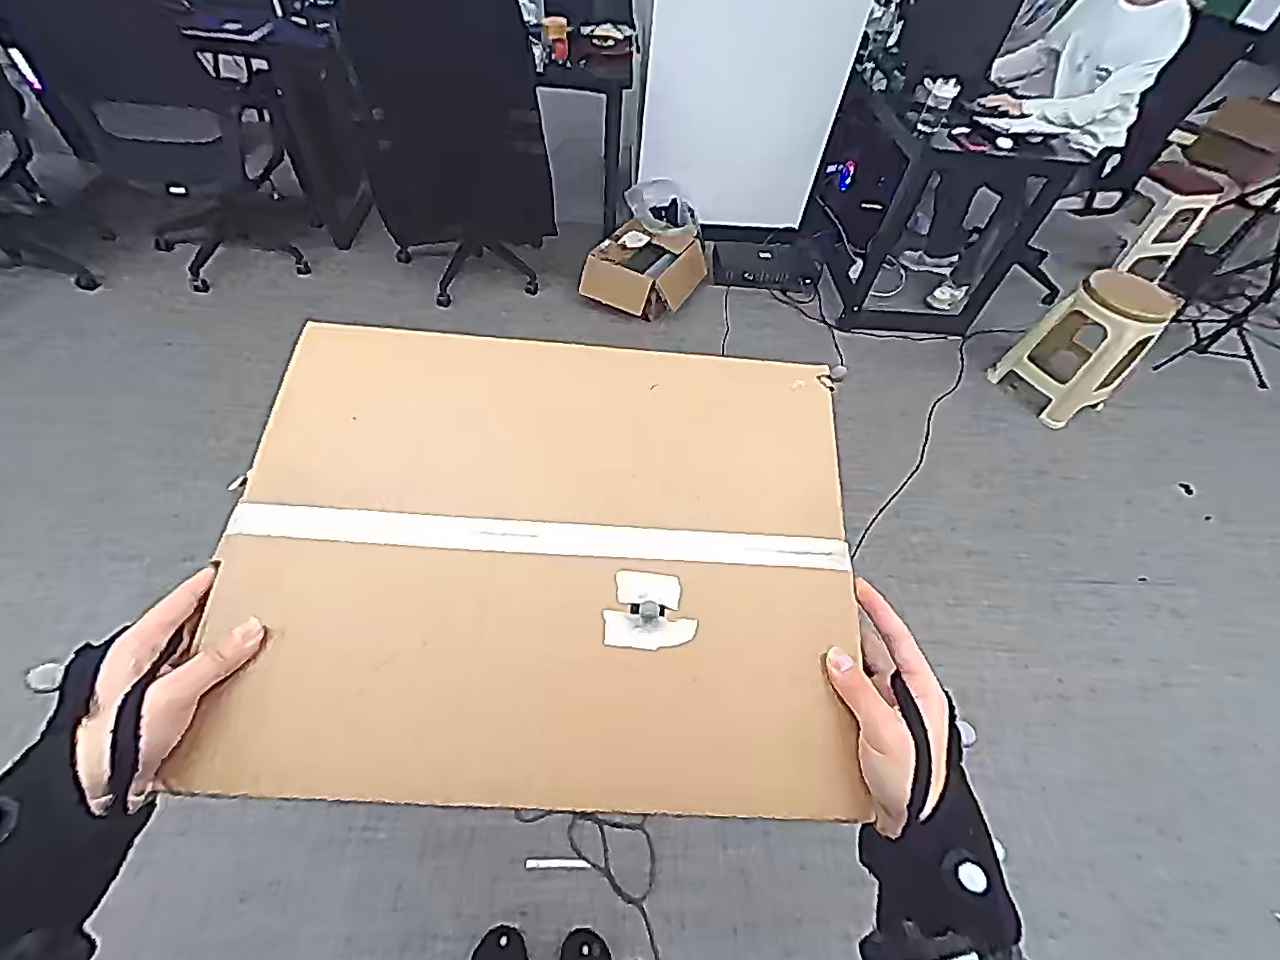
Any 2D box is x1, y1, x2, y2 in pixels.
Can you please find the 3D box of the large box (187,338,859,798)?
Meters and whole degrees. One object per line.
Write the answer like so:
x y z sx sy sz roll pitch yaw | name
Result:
-0.070 0.098 0.512 0.408 0.320 0.320 4 68 -3 | large box
